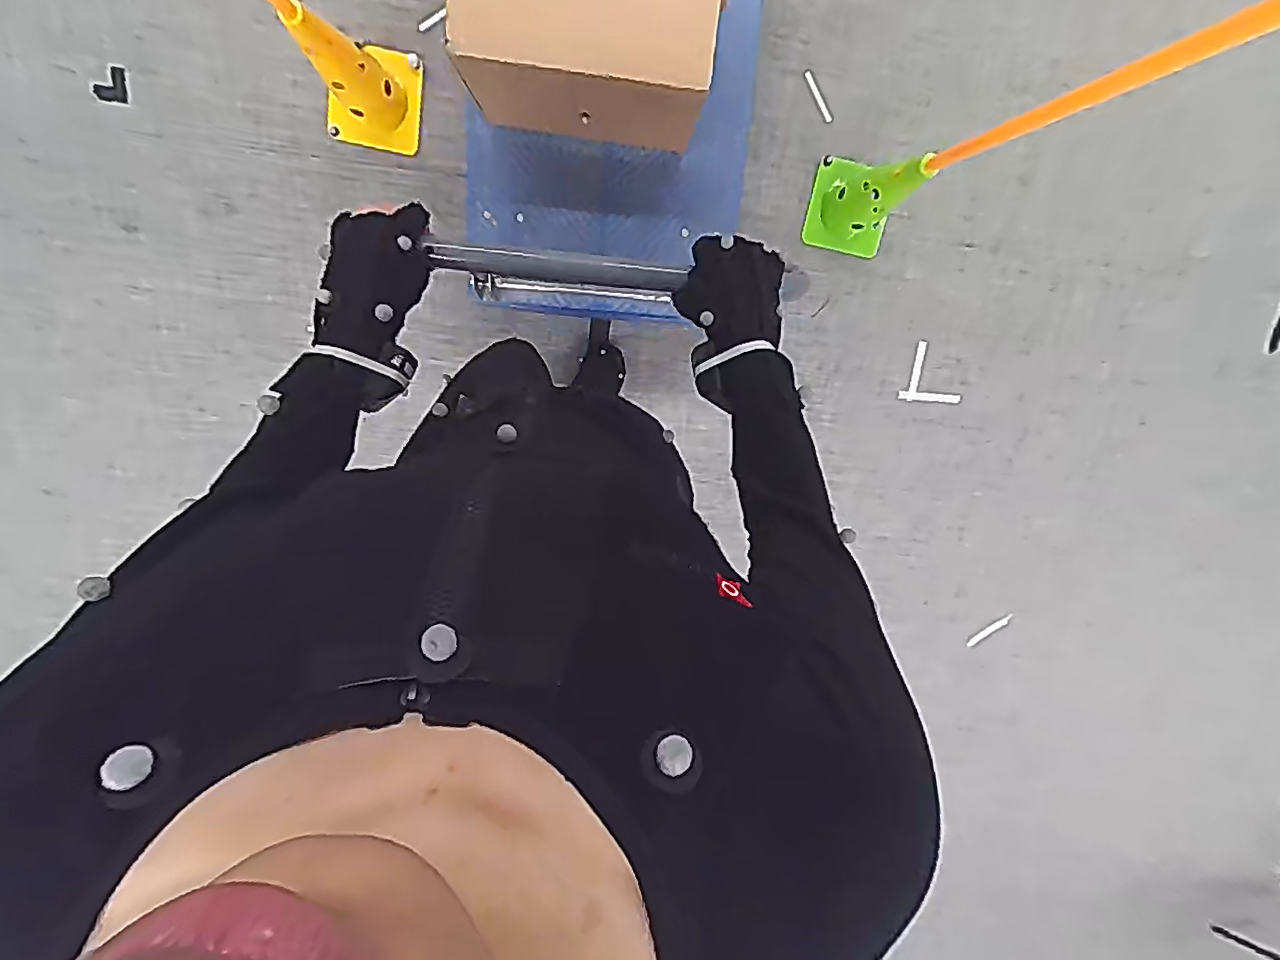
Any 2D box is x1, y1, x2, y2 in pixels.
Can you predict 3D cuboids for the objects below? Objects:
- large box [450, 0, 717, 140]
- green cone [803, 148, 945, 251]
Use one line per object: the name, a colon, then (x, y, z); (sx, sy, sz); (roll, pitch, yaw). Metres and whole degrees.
large box: (-0.082, -0.822, 0.935); (0.408, 0.320, 0.320); (5, 106, -4)
green cone: (0.528, -0.639, 1.170); (0.202, 0.368, 0.200); (10, 105, -7)
